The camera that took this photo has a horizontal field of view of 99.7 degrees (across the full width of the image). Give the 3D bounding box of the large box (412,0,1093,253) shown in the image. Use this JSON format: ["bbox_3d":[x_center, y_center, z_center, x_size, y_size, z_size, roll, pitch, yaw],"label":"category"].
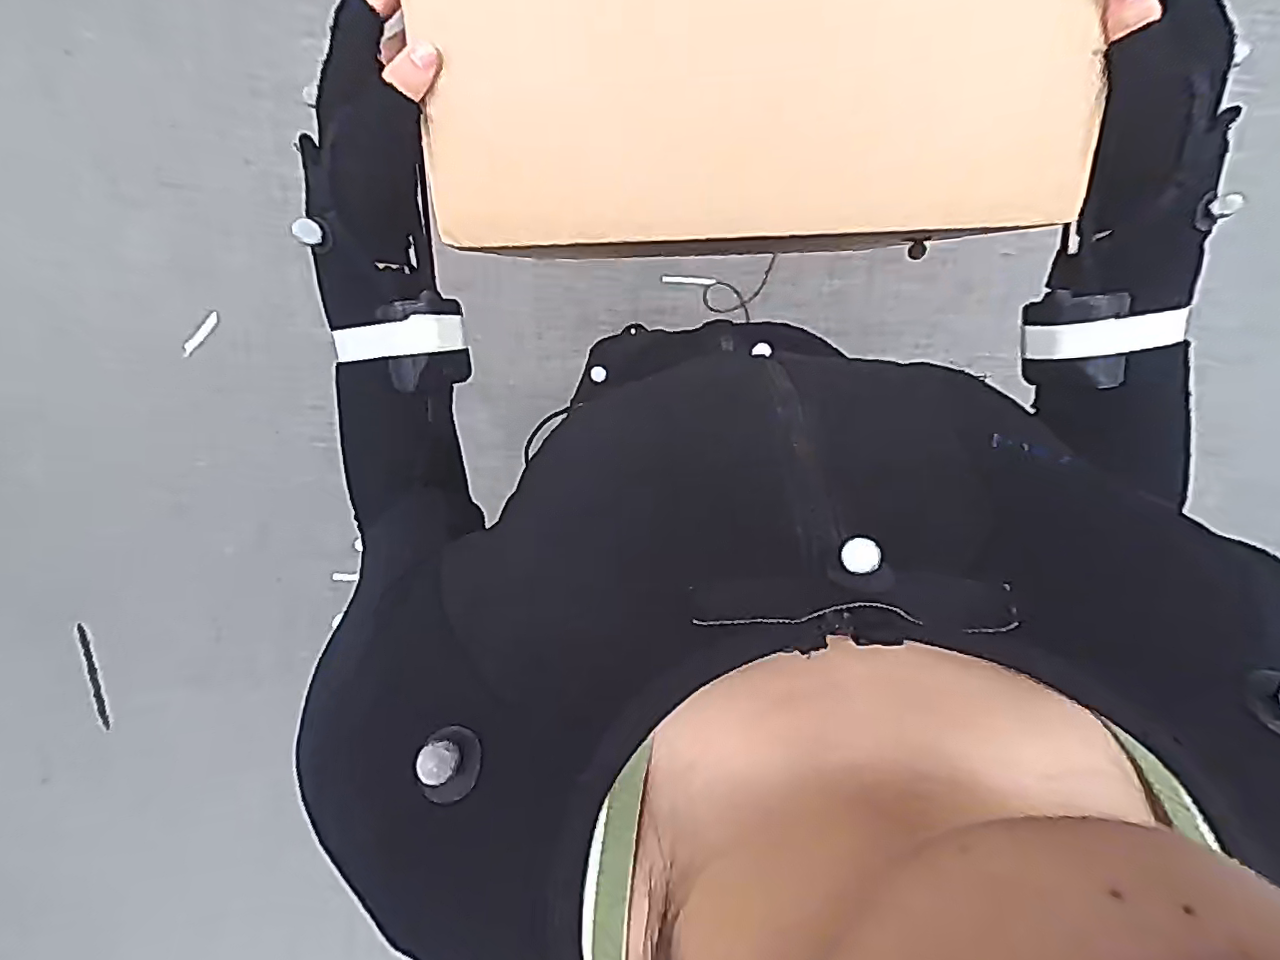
[{"bbox_3d":[0.065,-0.361,0.440,0.408,0.320,0.320,-2,111,0],"label":"large box"}]
